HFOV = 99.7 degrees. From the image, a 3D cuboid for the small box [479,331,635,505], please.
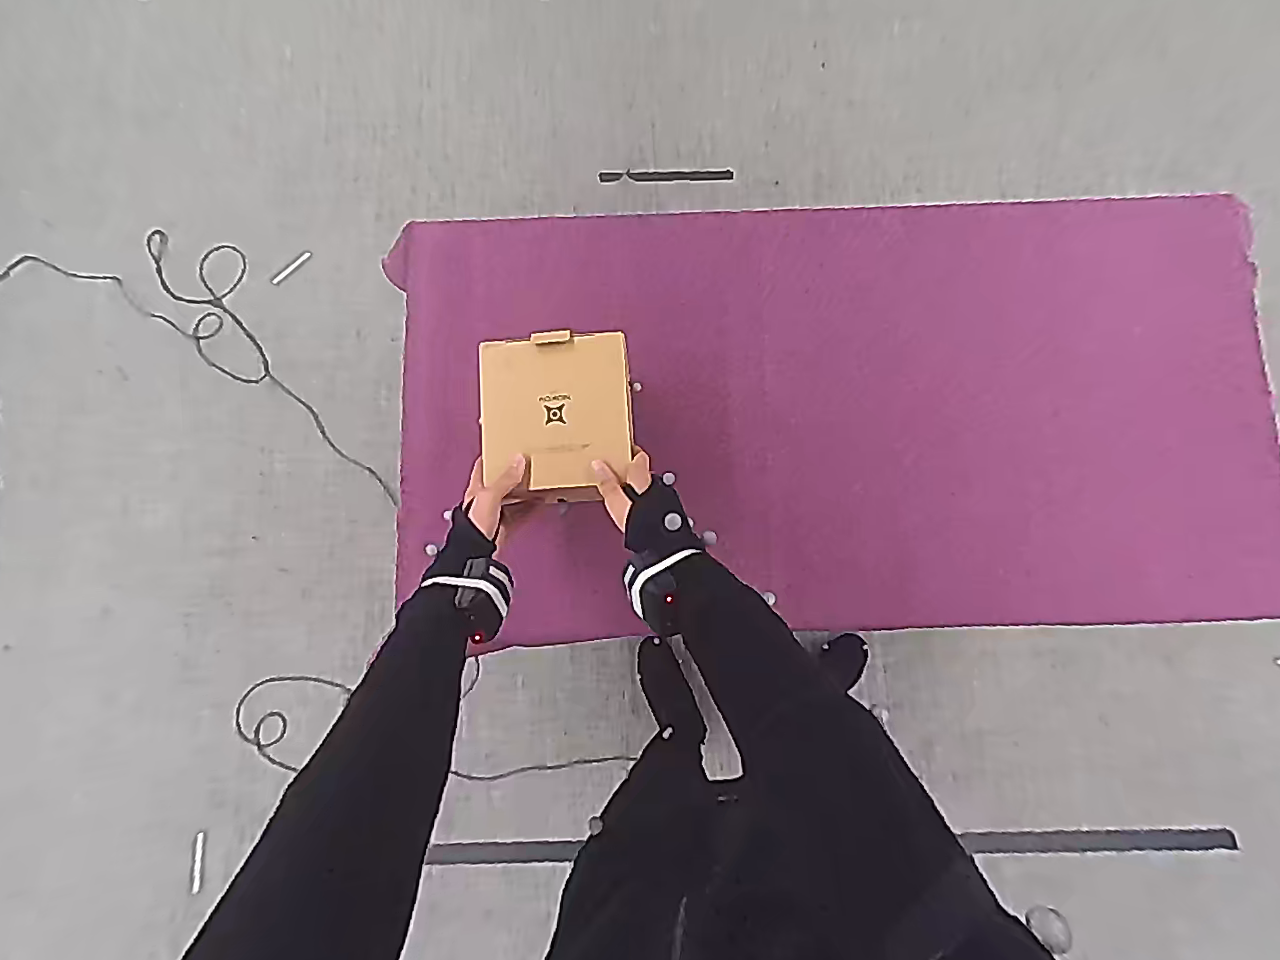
[{"bbox_3d":[-0.093,-0.066,0.669,0.168,0.176,0.179,-3,82,1],"label":"small box"}]
